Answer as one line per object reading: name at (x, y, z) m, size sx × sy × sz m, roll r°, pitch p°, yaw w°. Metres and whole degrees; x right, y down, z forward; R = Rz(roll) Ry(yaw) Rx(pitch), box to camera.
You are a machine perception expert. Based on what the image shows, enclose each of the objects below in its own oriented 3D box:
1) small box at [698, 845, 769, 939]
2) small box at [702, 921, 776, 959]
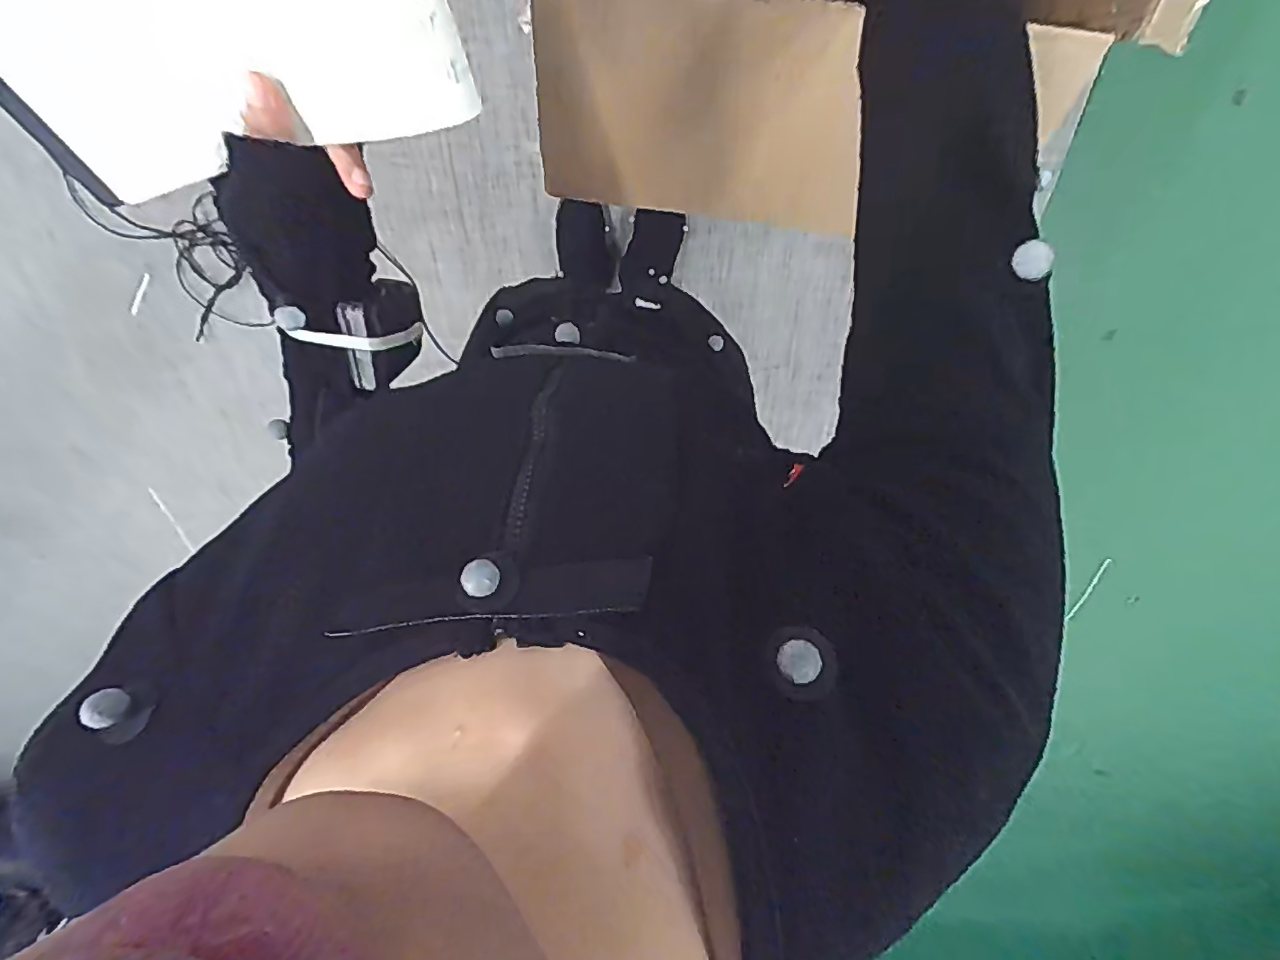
small box at (0.248, 1.126, 1.473) m, size 0.168 × 0.176 × 0.179 m, roll 0°, pitch 125°, yaw 1°
small box at (0.246, 1.223, 1.341) m, size 0.168 × 0.176 × 0.179 m, roll 2°, pitch 126°, yaw 1°
